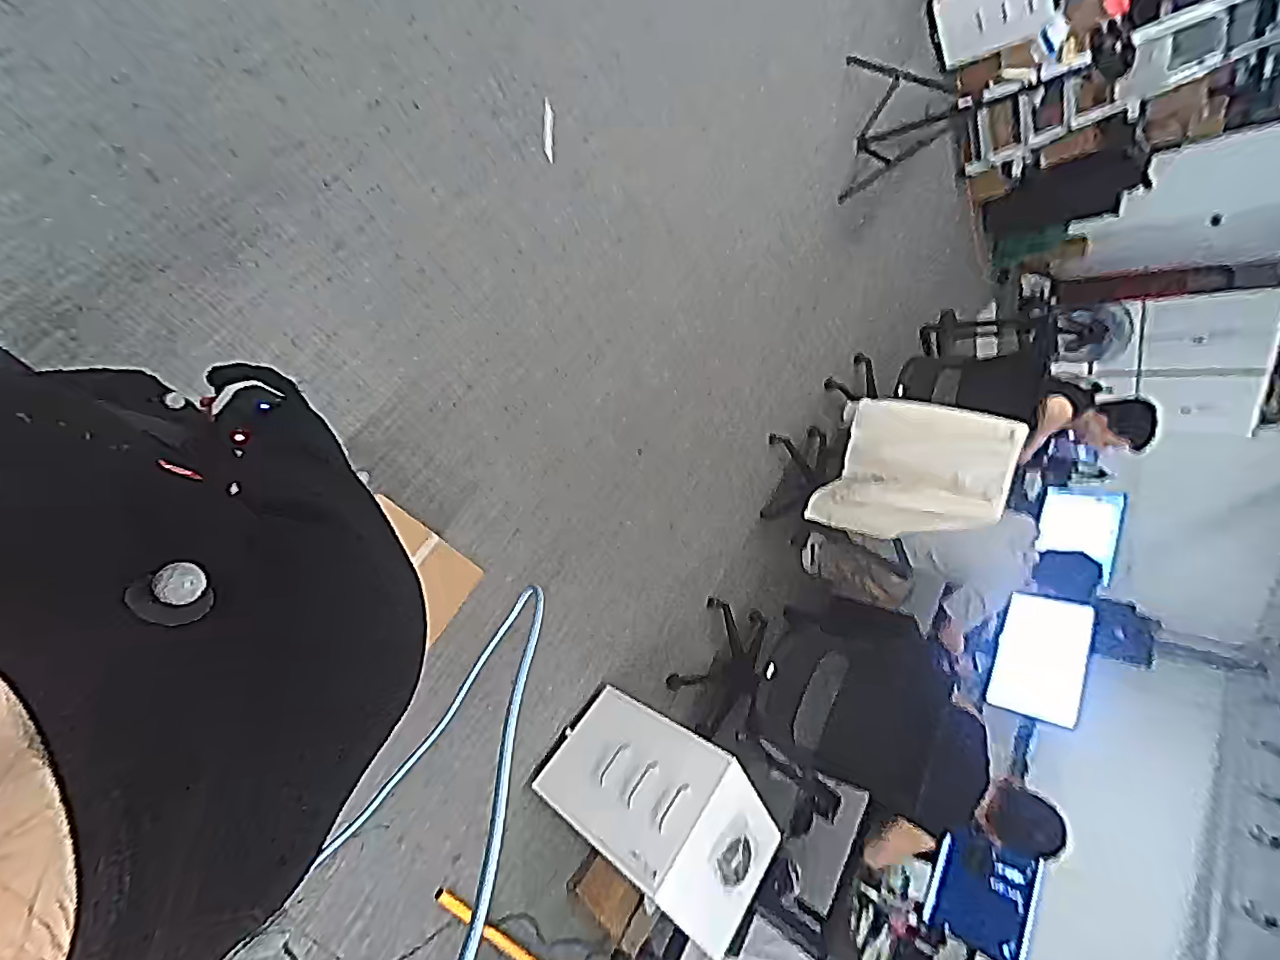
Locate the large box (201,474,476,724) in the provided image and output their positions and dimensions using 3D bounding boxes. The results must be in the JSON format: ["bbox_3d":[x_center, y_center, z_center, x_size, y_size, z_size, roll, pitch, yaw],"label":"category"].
[{"bbox_3d":[-0.658,0.245,1.198,0.408,0.320,0.320,-57,132,-22],"label":"large box"}]
